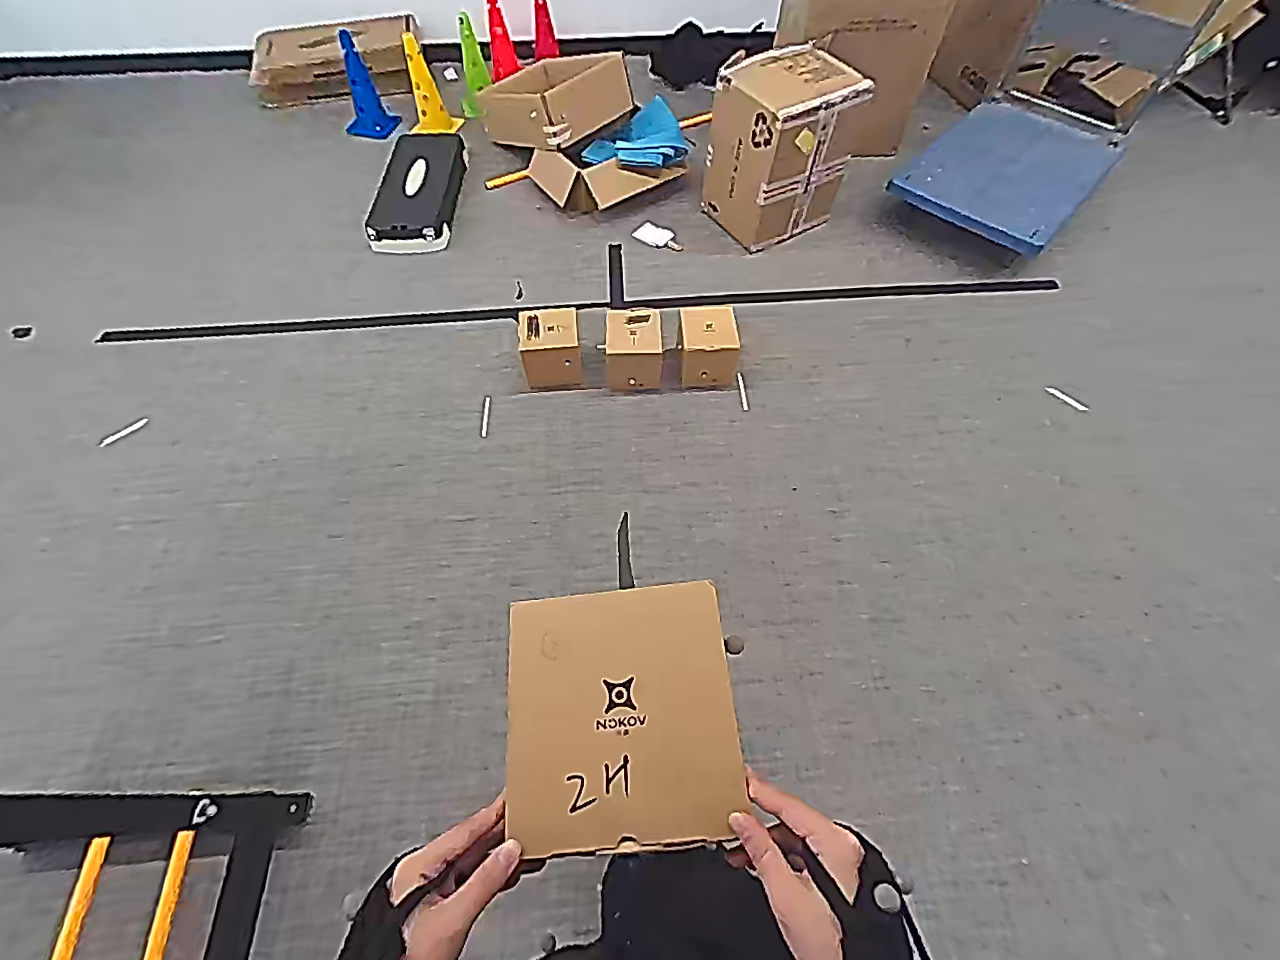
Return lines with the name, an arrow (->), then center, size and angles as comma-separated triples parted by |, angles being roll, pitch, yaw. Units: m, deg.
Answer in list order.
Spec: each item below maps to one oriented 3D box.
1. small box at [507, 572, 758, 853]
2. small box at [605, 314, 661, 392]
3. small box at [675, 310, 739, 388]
small box -> -0.005, 0.194, 0.456 | 0.168, 0.176, 0.179 | -7, 62, 3
small box -> -0.023, -0.393, 1.677 | 0.168, 0.176, 0.179 | -1, 60, -1
small box -> 0.203, -0.409, 1.692 | 0.168, 0.176, 0.179 | -3, 60, -2
